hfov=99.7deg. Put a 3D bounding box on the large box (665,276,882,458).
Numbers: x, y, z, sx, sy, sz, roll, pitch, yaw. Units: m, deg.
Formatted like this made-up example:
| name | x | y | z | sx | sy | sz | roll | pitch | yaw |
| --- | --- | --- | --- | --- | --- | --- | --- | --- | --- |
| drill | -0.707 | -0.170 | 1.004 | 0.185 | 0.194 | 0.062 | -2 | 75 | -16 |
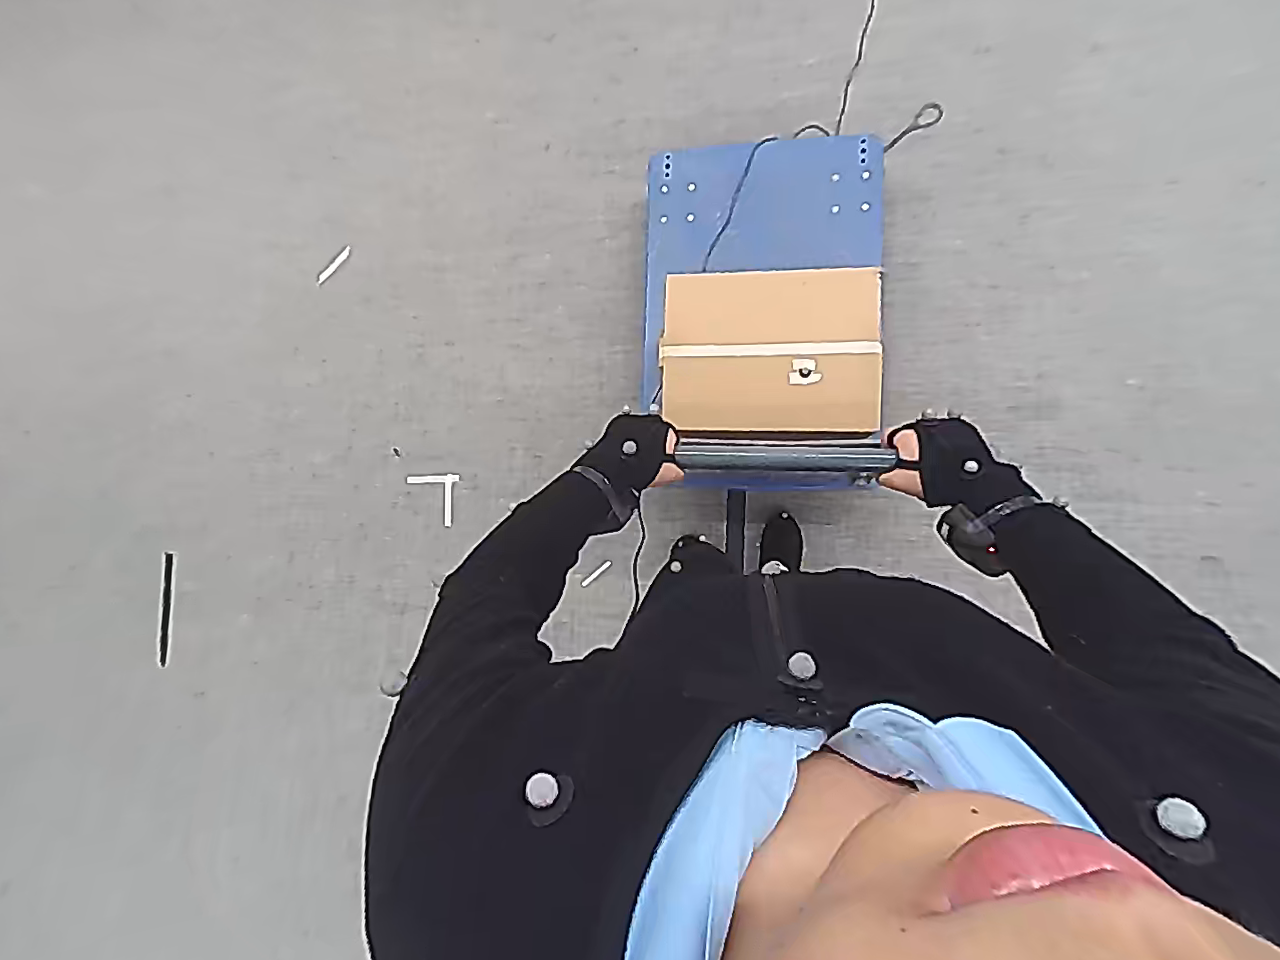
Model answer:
| name | x | y | z | sx | sy | sz | roll | pitch | yaw |
| --- | --- | --- | --- | --- | --- | --- | --- | --- | --- |
| large box | 0.266 | -0.217 | 1.164 | 0.408 | 0.320 | 0.320 | 1 | 87 | 8 |
